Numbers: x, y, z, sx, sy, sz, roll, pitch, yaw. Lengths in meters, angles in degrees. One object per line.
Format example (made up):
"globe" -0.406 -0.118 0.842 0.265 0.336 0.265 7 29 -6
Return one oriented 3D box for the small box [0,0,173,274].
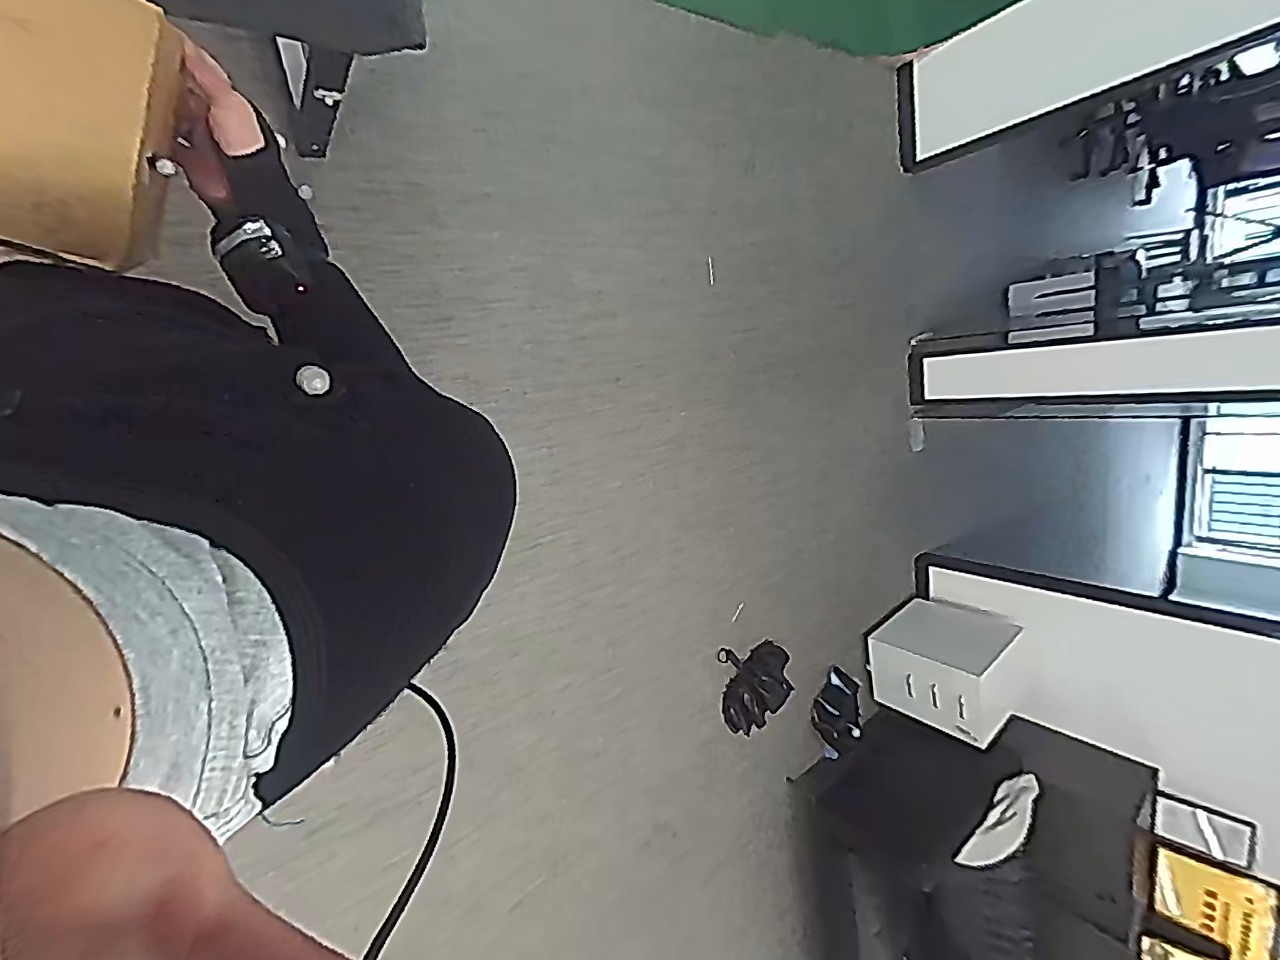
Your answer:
"small box" -0.447 -0.266 0.374 0.168 0.176 0.179 10 107 -39
